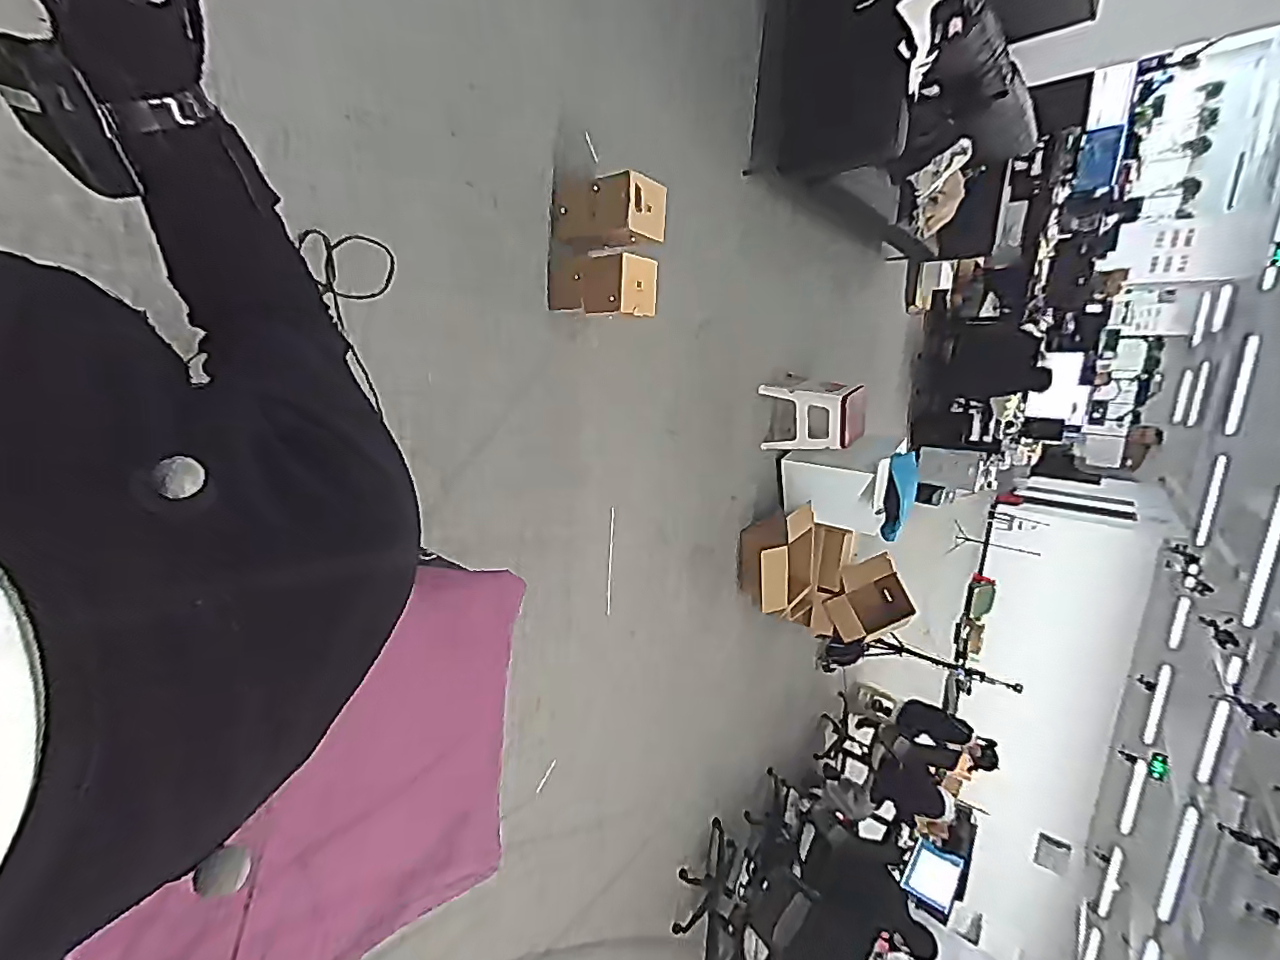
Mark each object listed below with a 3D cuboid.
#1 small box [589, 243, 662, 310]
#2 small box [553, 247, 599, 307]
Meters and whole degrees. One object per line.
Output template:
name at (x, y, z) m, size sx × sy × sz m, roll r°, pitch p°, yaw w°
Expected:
small box at (-0.049, -0.645, 1.731) m, size 0.168 × 0.176 × 0.179 m, roll -12°, pitch 110°, yaw -47°
small box at (-0.173, -0.680, 1.831) m, size 0.179 × 0.176 × 0.168 m, roll -11°, pitch 108°, yaw -48°
